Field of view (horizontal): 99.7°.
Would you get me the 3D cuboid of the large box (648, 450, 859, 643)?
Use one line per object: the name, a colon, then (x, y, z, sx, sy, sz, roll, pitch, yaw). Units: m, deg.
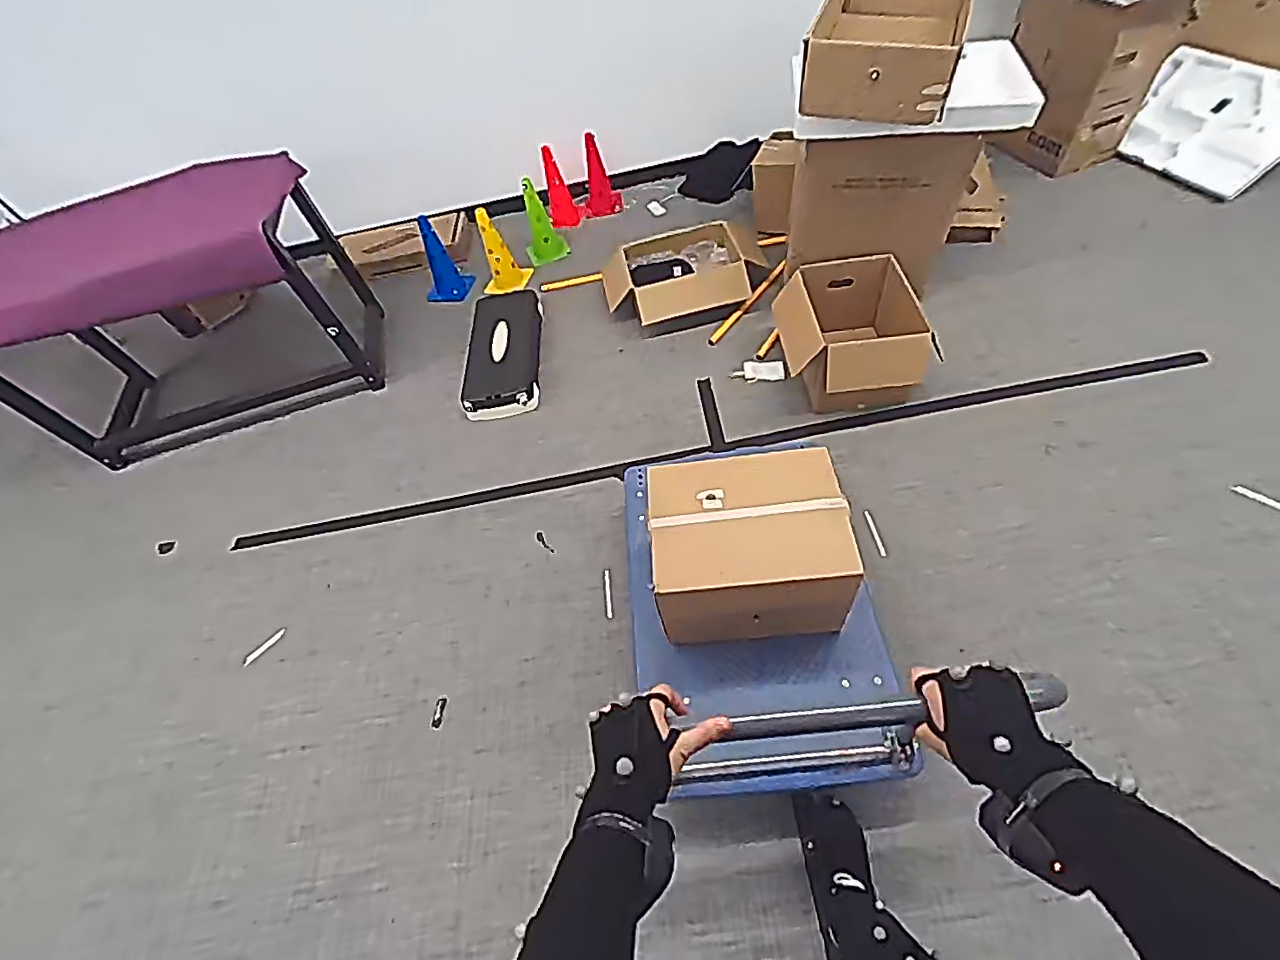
large box: (0.246, 0.167, 1.263, 0.408, 0.320, 0.320, -7, 53, 6)
